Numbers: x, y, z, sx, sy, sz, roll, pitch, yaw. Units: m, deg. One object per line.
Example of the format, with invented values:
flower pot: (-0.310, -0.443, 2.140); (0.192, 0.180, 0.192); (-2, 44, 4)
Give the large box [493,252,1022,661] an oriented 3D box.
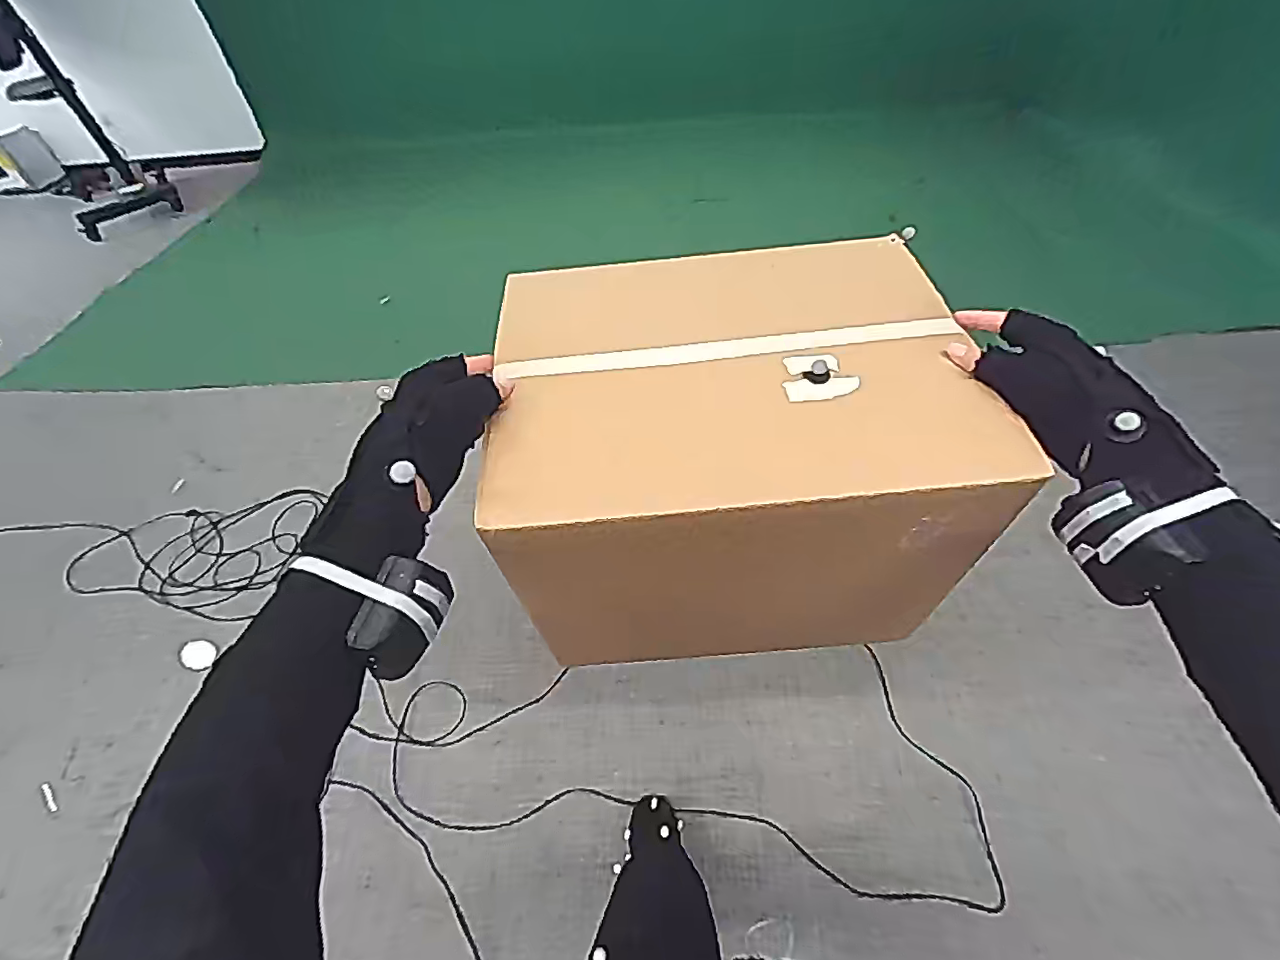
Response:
large box: (0.083, -0.015, 0.604); (0.408, 0.320, 0.320); (-5, 53, 1)
